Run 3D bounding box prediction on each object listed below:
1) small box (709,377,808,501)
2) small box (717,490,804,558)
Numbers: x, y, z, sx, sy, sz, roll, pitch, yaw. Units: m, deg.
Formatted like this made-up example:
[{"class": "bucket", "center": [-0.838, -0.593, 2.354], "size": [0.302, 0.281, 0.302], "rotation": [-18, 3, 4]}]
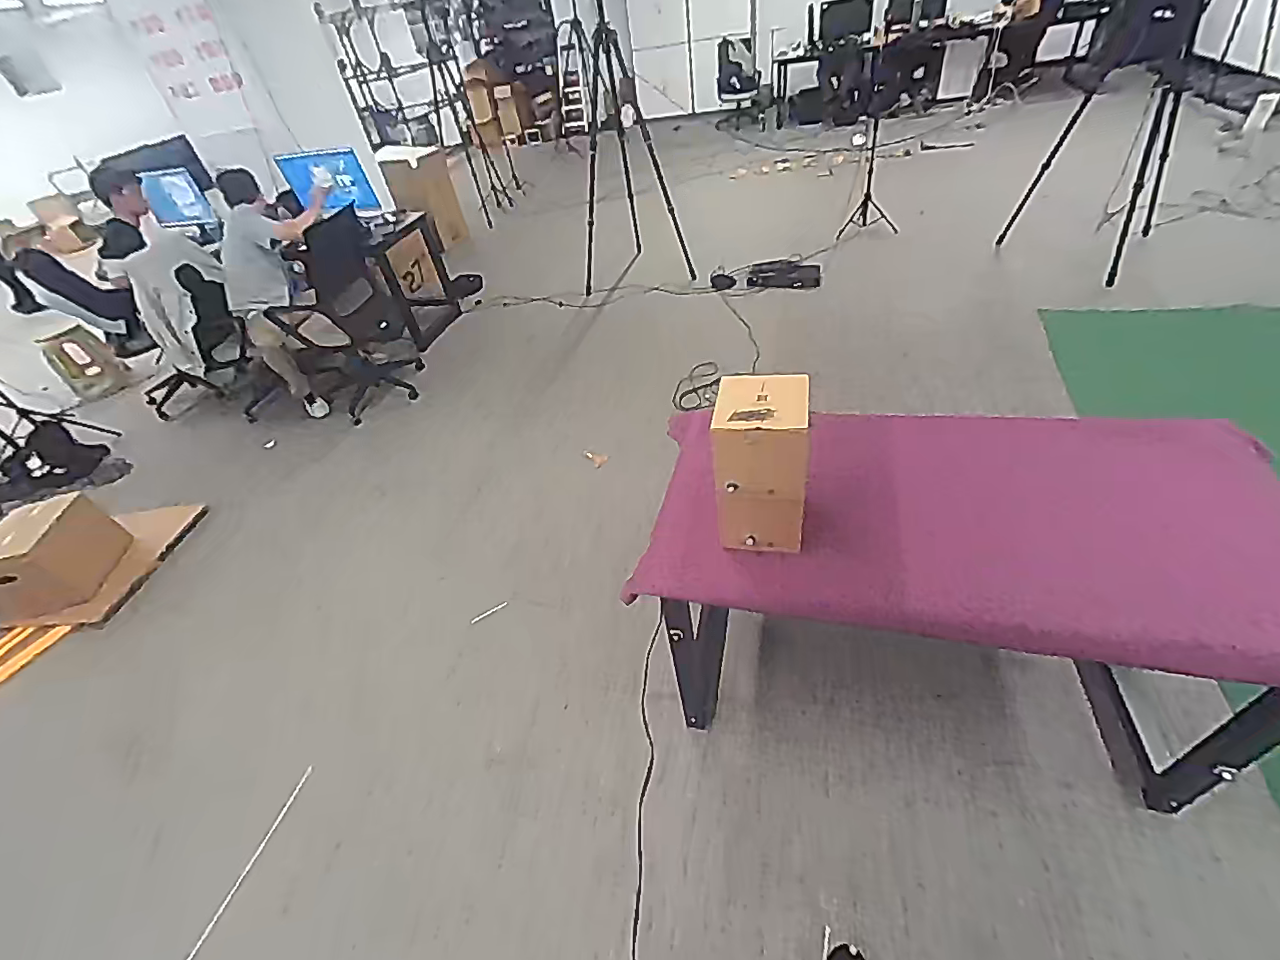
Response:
[{"class": "small box", "center": [0.230, -0.076, 1.024], "size": [0.168, 0.176, 0.179], "rotation": [2, 42, 16]}, {"class": "small box", "center": [0.257, 0.040, 1.137], "size": [0.168, 0.176, 0.179], "rotation": [2, 44, 16]}]
